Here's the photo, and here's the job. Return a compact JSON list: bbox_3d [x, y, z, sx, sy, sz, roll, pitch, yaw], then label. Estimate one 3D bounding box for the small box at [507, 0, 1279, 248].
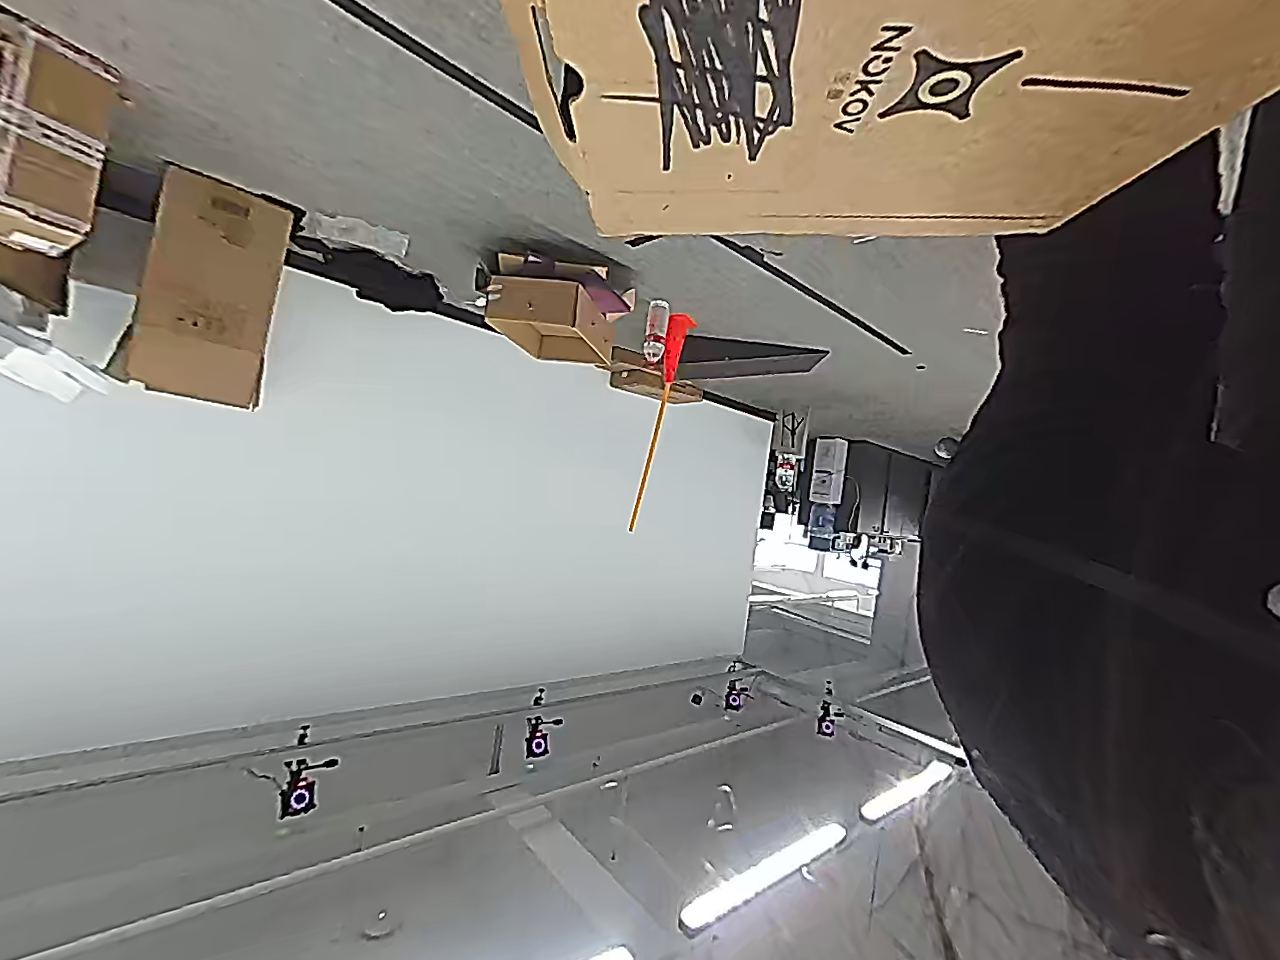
[{"bbox_3d":[0.063,-0.174,0.122,0.179,0.176,0.168,3,-179,2],"label":"small box"}]
